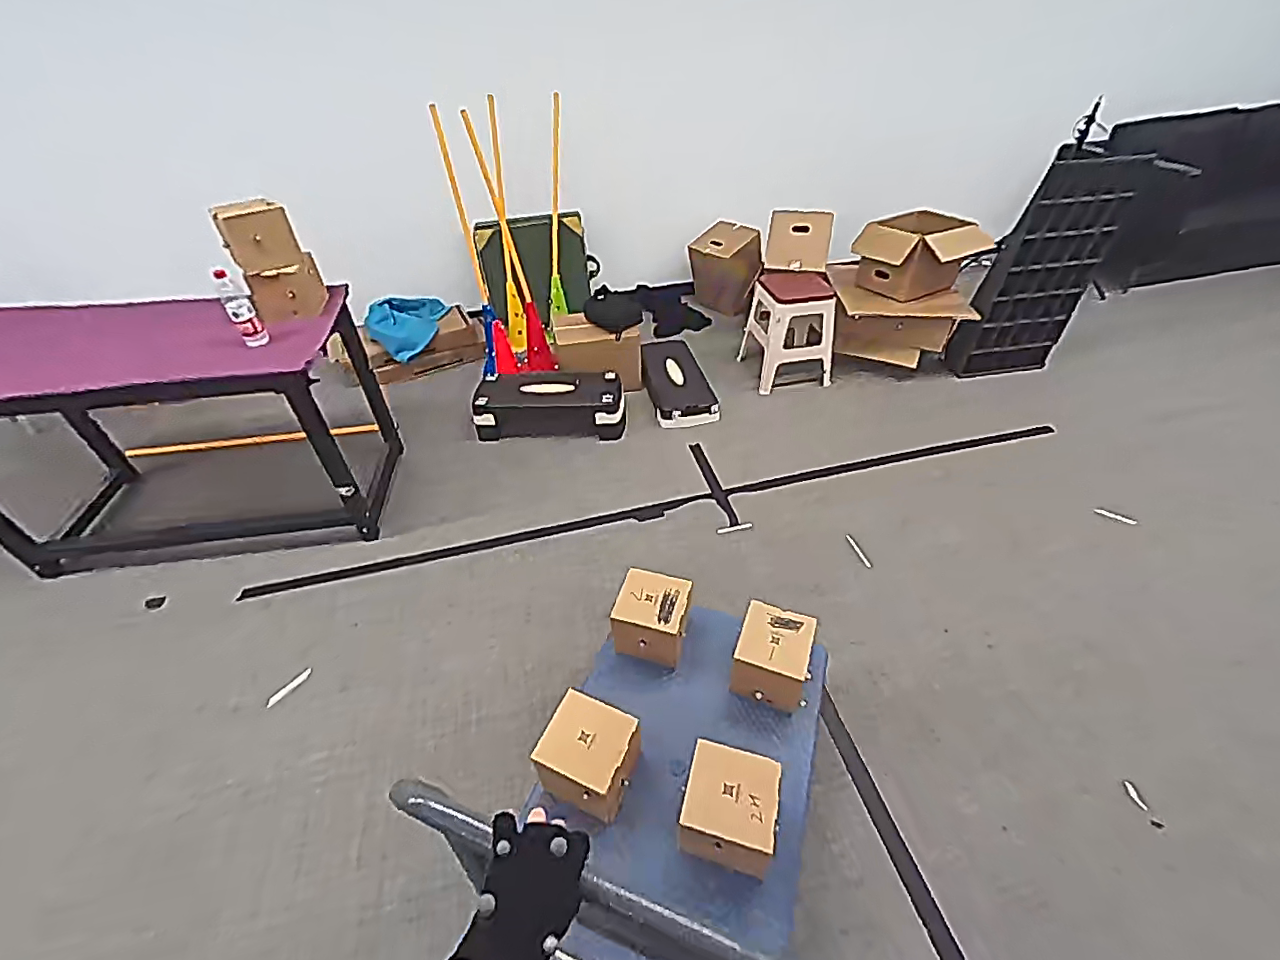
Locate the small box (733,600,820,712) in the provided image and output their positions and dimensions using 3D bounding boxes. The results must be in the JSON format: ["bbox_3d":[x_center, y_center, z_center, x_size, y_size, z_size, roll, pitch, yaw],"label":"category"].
[{"bbox_3d":[0.334,0.435,1.340,0.168,0.176,0.179,15,46,18],"label":"small box"}]

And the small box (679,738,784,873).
[{"bbox_3d":[0.182,0.661,1.095,0.179,0.176,0.168,11,44,15],"label":"small box"}]

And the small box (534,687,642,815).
[{"bbox_3d":[-0.107,0.595,1.182,0.179,0.176,0.168,17,45,18],"label":"small box"}]
